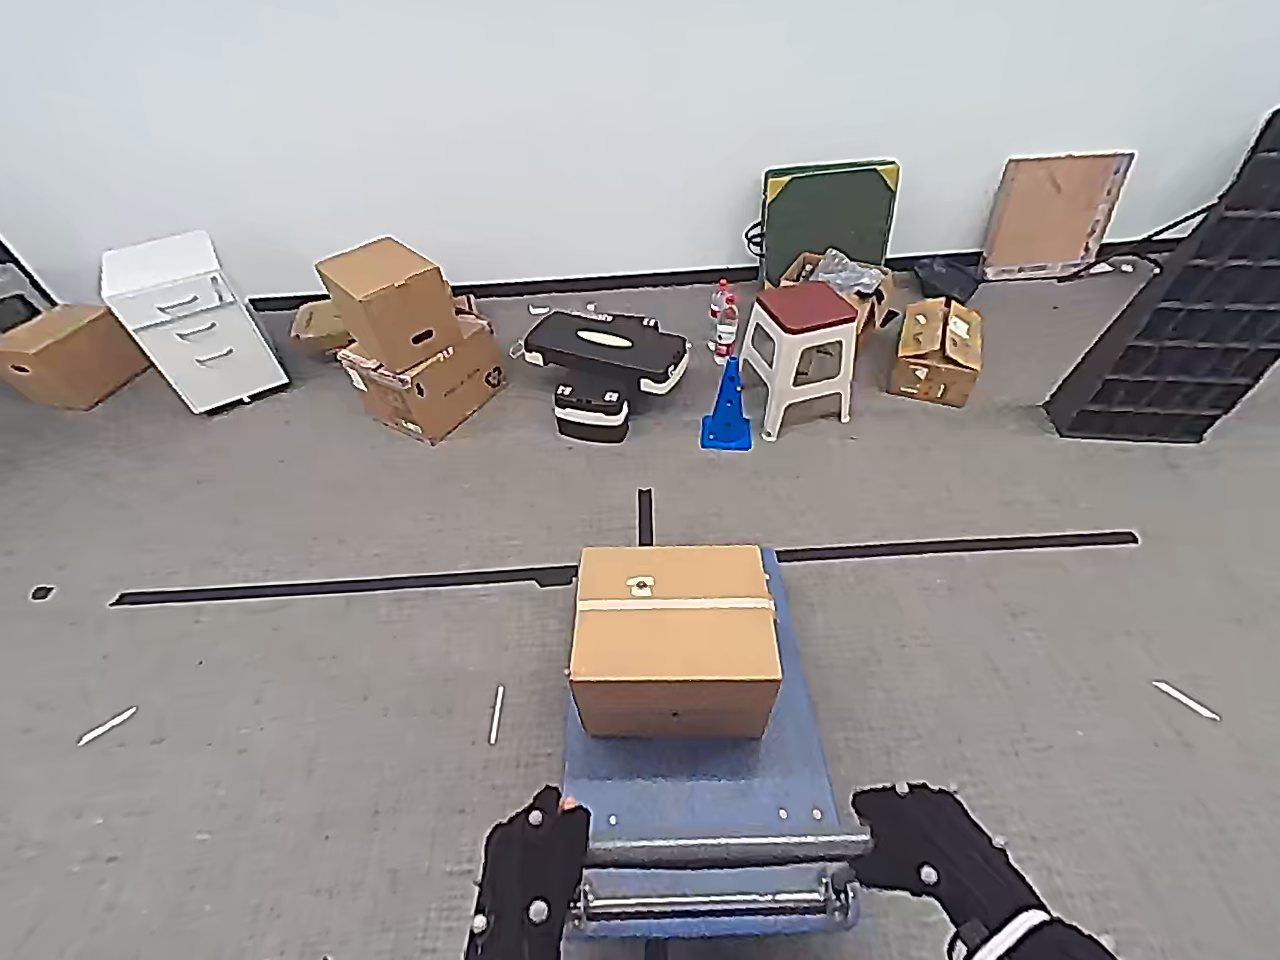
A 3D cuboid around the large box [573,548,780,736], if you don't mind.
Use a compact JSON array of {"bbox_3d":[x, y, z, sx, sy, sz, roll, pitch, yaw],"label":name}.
[{"bbox_3d":[0.078,0.375,1.236,0.408,0.320,0.320,-2,46,3],"label":"large box"}]
